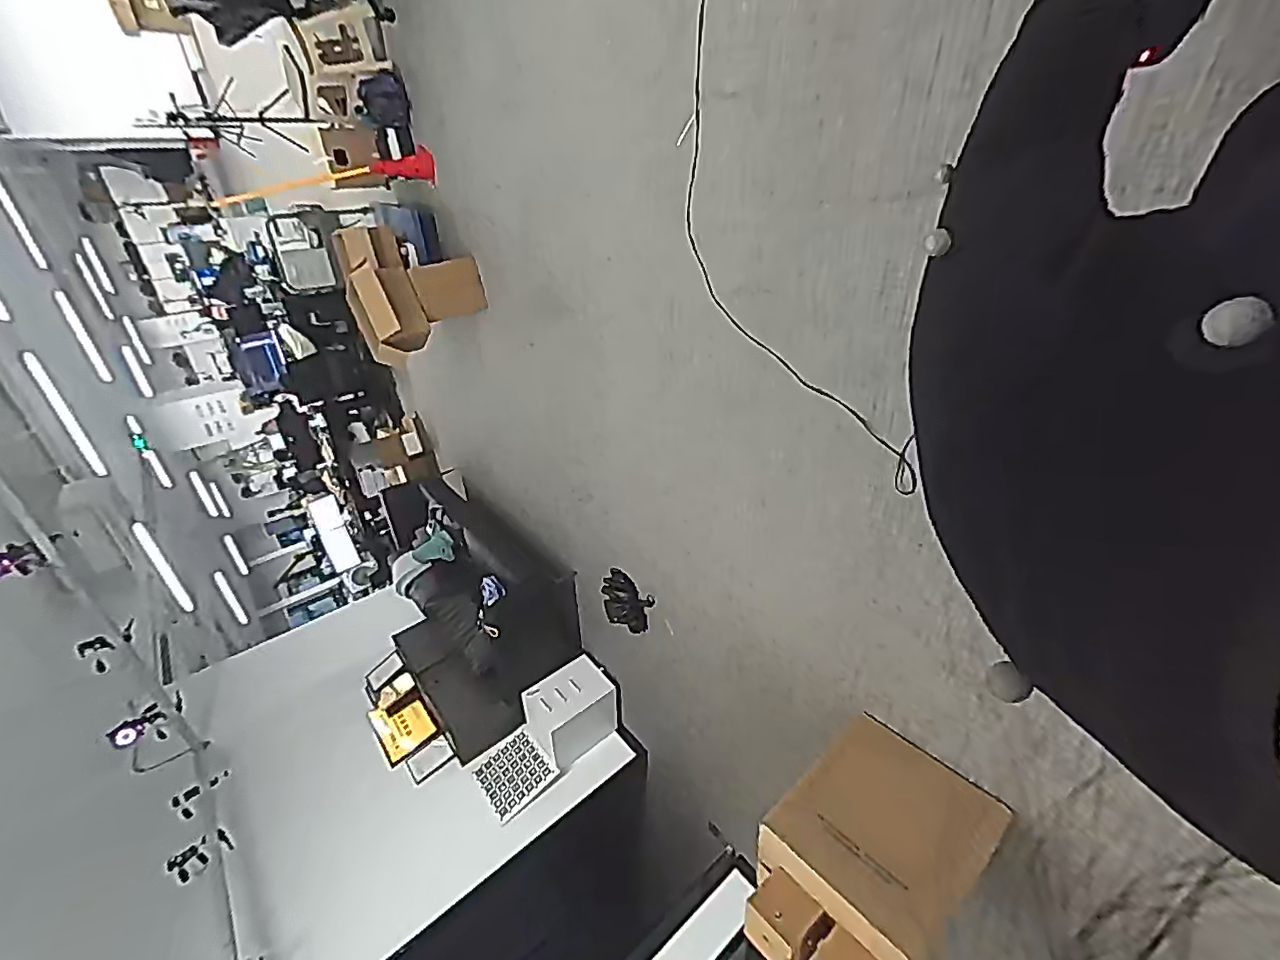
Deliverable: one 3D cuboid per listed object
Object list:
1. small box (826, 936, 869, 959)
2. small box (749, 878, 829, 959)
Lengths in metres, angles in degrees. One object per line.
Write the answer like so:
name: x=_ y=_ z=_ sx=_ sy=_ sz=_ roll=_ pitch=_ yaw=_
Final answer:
small box: x=0.596 y=1.458 z=1.519 sx=0.179 sy=0.176 sz=0.168 roll=24 pitch=123 yaw=47
small box: x=0.461 y=1.399 z=1.674 sx=0.179 sy=0.176 sz=0.168 roll=23 pitch=121 yaw=48
